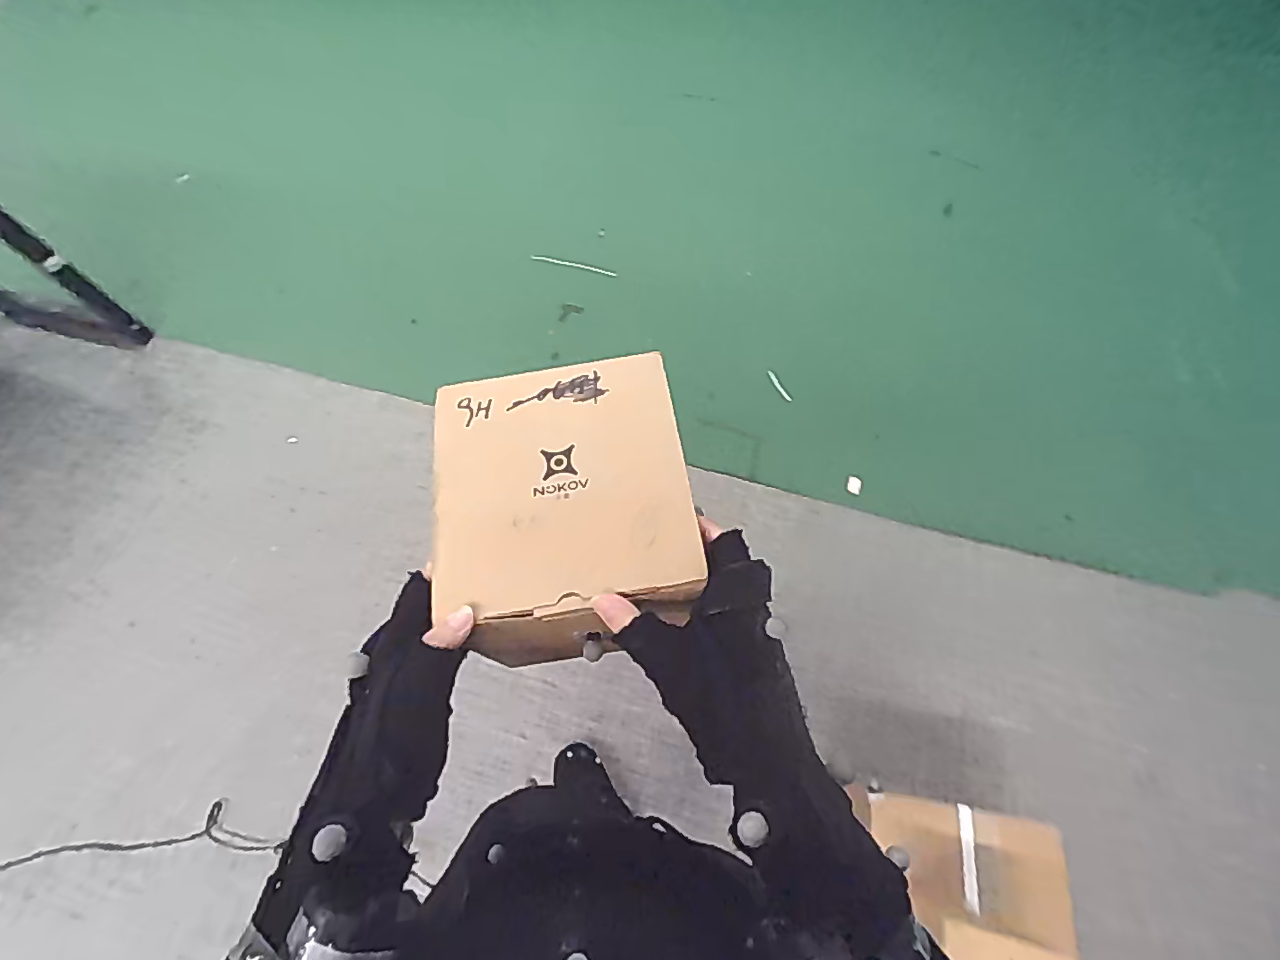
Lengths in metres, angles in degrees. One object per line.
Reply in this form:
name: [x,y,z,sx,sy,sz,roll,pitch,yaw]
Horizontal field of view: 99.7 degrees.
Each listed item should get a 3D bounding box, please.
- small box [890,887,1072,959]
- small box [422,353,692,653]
small box: [0.459,0.704,0.744,0.168,0.176,0.179,13,65,8]
small box: [-0.054,0.032,0.425,0.168,0.176,0.179,-10,65,-1]
